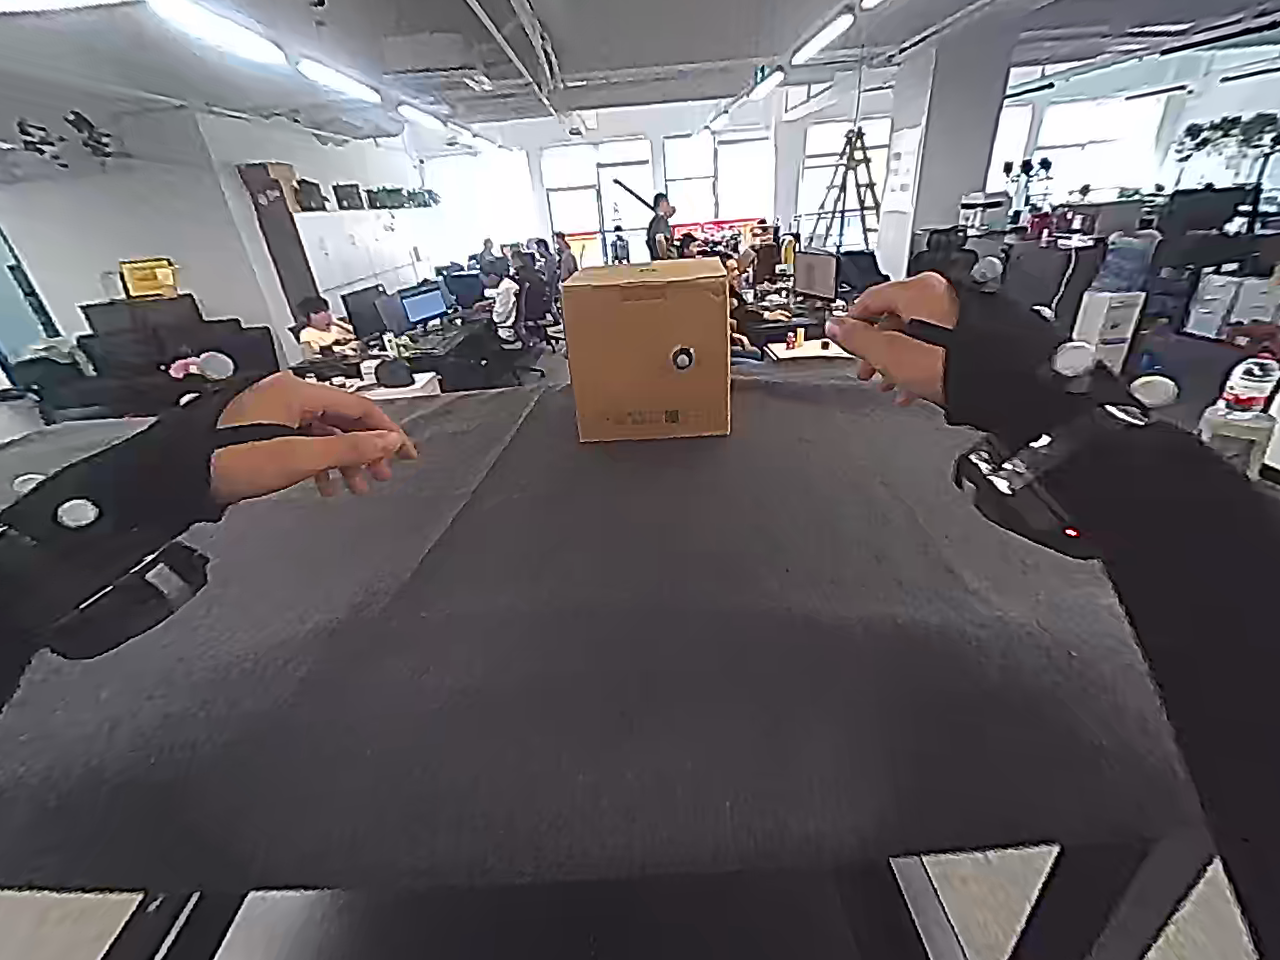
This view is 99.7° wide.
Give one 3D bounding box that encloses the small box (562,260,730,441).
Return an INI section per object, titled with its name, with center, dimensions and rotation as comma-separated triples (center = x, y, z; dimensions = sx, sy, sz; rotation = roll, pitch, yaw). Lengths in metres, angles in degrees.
[small box]
center = 0.017, -0.150, 0.624
dimensions = 0.168, 0.176, 0.179
rotation = -1, 27, 5
